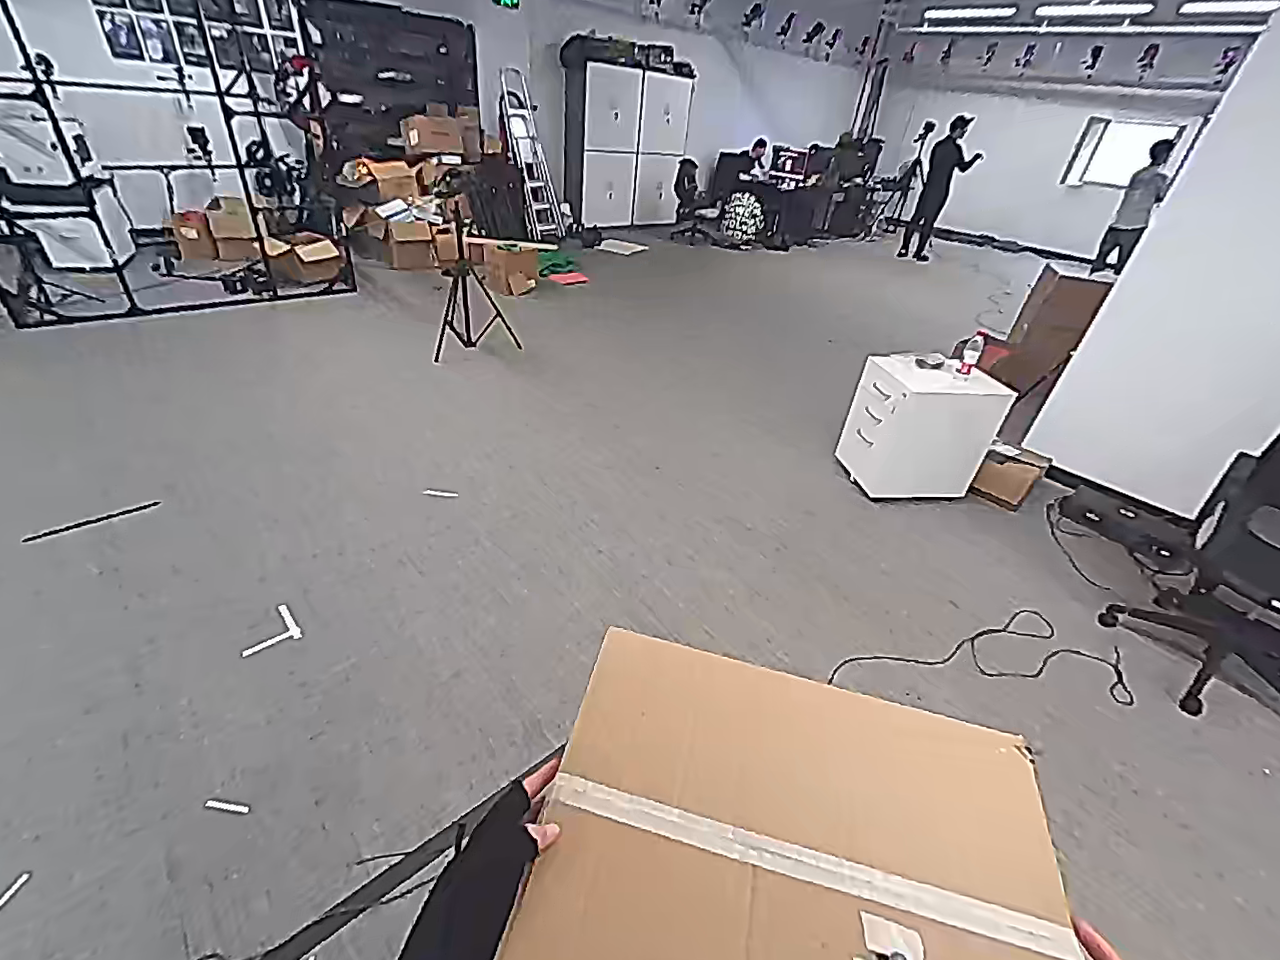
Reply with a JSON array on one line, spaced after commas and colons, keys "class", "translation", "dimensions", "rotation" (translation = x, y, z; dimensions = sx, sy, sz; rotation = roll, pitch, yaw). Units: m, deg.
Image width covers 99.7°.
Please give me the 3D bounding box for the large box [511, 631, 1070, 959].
[{"class": "large box", "translation": [0.117, 0.407, 0.540], "dimensions": [0.408, 0.320, 0.320], "rotation": [14, 45, 8]}]
